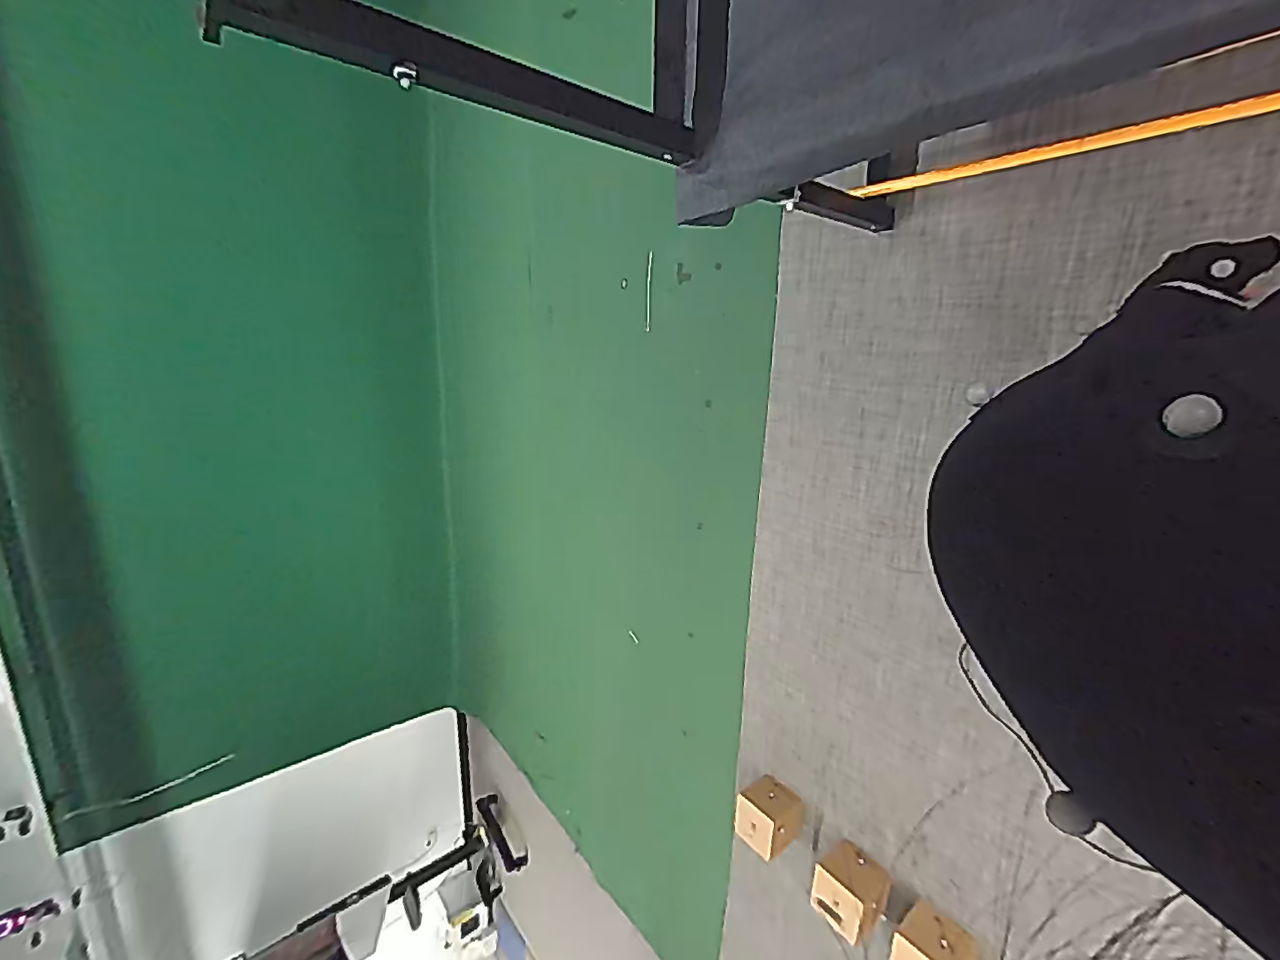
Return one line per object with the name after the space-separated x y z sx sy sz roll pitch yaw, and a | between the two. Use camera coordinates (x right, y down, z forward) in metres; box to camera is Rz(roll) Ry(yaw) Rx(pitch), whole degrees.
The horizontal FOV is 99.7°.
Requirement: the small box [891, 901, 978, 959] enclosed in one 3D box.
0.842 1.373 1.549 0.168 0.176 0.179 18 111 48 | small box

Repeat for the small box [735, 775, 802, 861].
0.475 1.232 1.988 0.168 0.176 0.179 19 111 49 | small box
